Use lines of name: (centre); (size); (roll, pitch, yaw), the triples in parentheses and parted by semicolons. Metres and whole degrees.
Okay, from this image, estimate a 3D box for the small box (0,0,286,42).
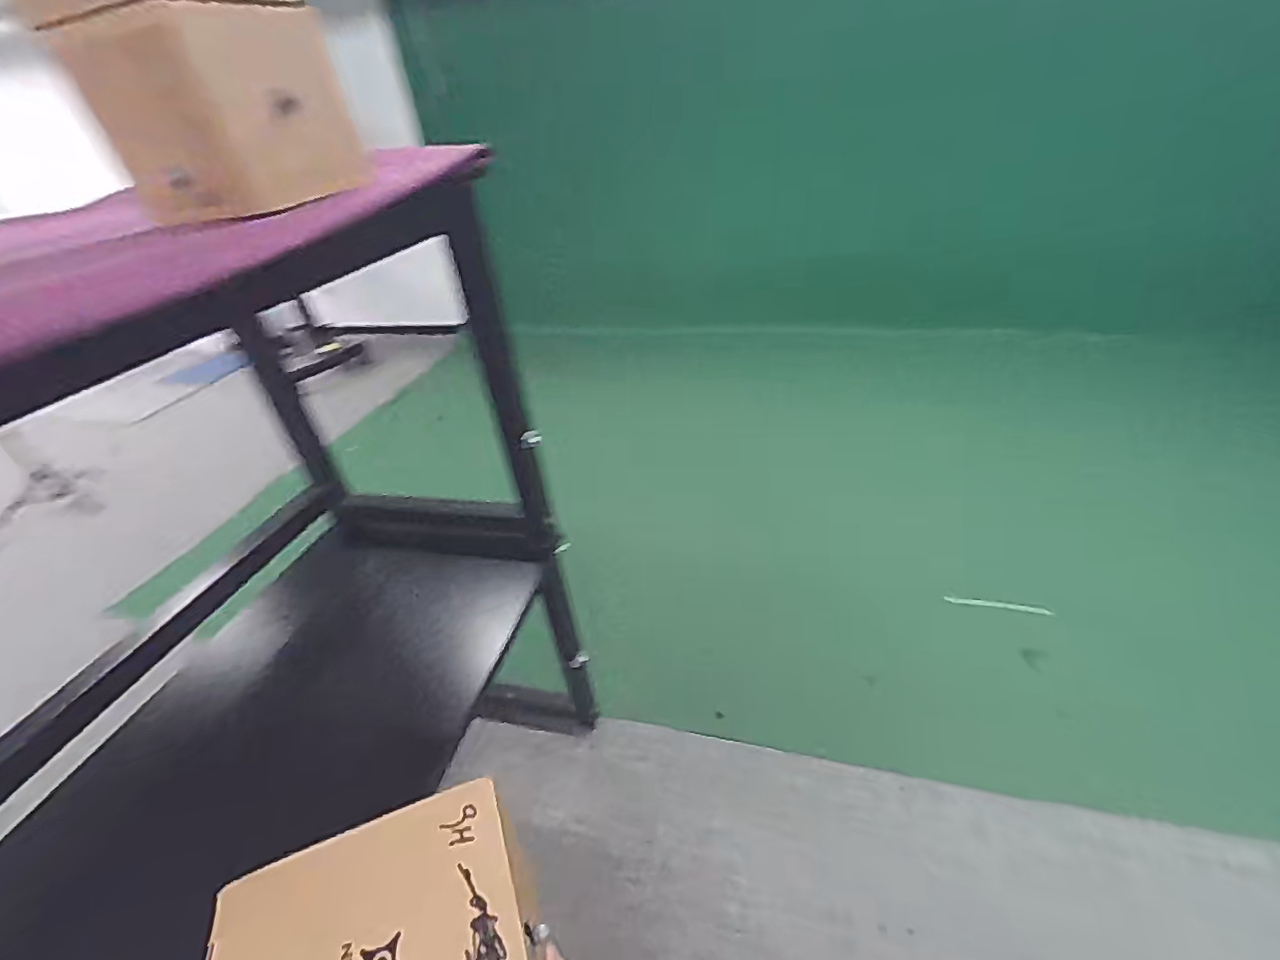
small box: (-0.464, -0.504, 0.469); (0.179, 0.176, 0.168); (3, 38, 17)
